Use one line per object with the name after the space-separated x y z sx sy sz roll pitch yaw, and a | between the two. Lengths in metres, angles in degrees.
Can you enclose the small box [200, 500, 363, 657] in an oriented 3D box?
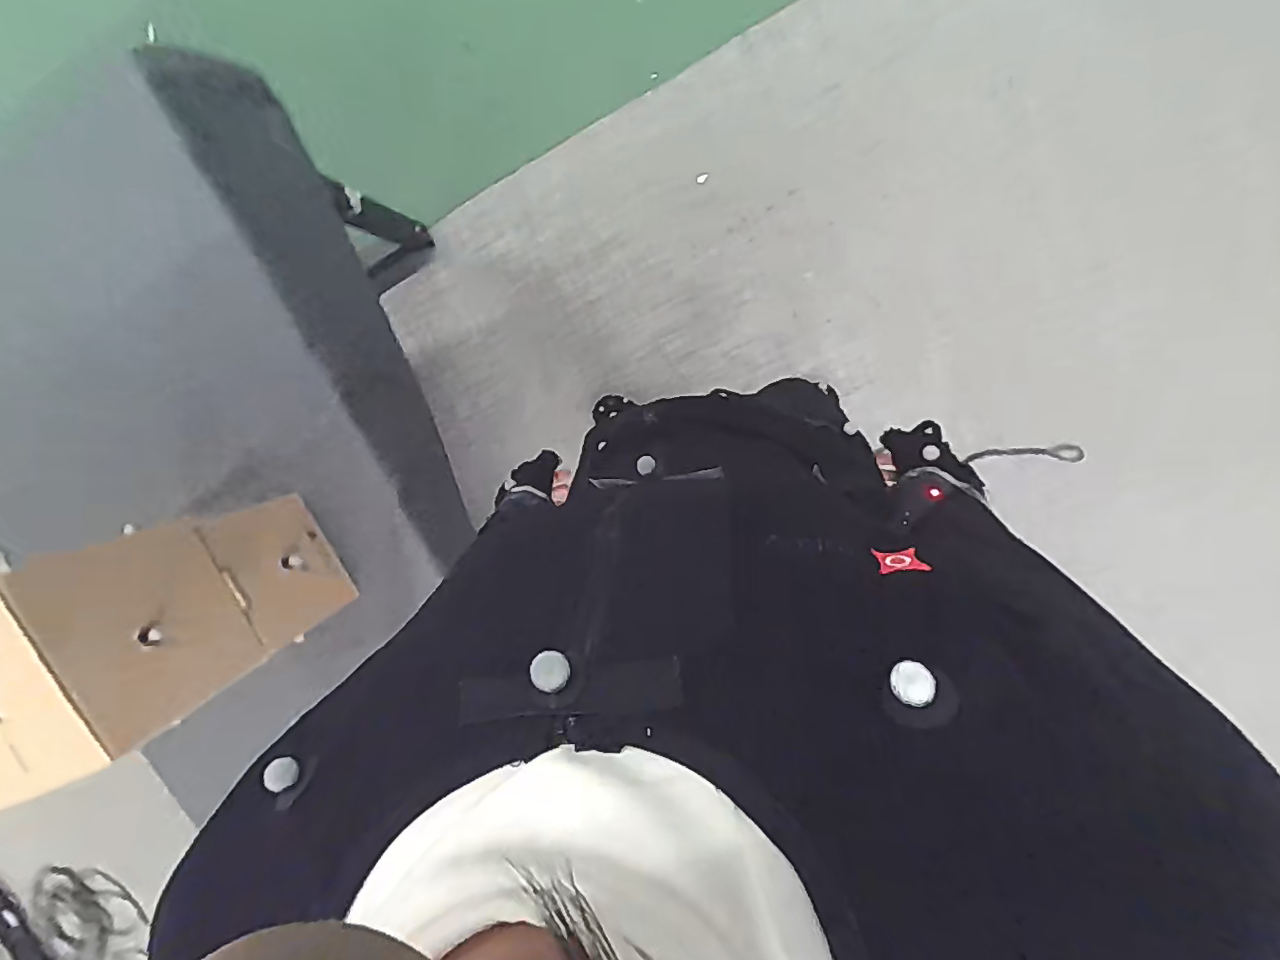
-0.497 0.144 0.699 0.179 0.176 0.168 -27 97 12 | small box
